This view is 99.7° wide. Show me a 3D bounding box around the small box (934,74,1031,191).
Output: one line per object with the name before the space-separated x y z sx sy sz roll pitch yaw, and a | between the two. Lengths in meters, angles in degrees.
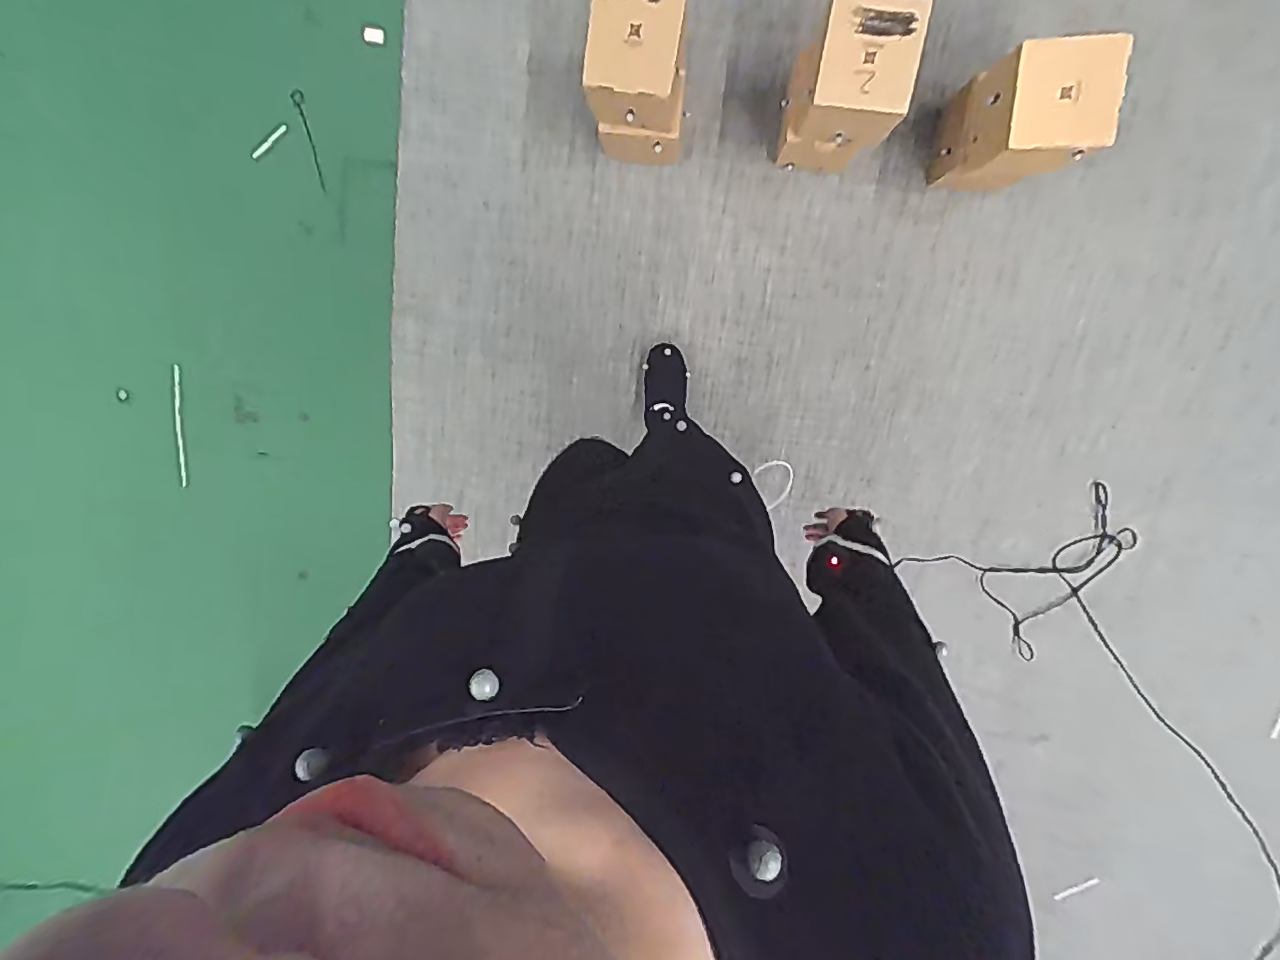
small box | 0.754 -0.725 1.143 0.179 0.176 0.168 6 106 4

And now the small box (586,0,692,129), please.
small box | 0.004 -0.807 1.038 0.168 0.176 0.179 12 106 3

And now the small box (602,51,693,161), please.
small box | 0.022 -0.829 1.201 0.179 0.176 0.168 8 104 4

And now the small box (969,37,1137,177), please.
small box | 0.738 -0.670 0.991 0.179 0.176 0.168 1 105 6

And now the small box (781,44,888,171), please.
small box | 0.407 -0.791 1.166 0.168 0.176 0.179 9 104 4
